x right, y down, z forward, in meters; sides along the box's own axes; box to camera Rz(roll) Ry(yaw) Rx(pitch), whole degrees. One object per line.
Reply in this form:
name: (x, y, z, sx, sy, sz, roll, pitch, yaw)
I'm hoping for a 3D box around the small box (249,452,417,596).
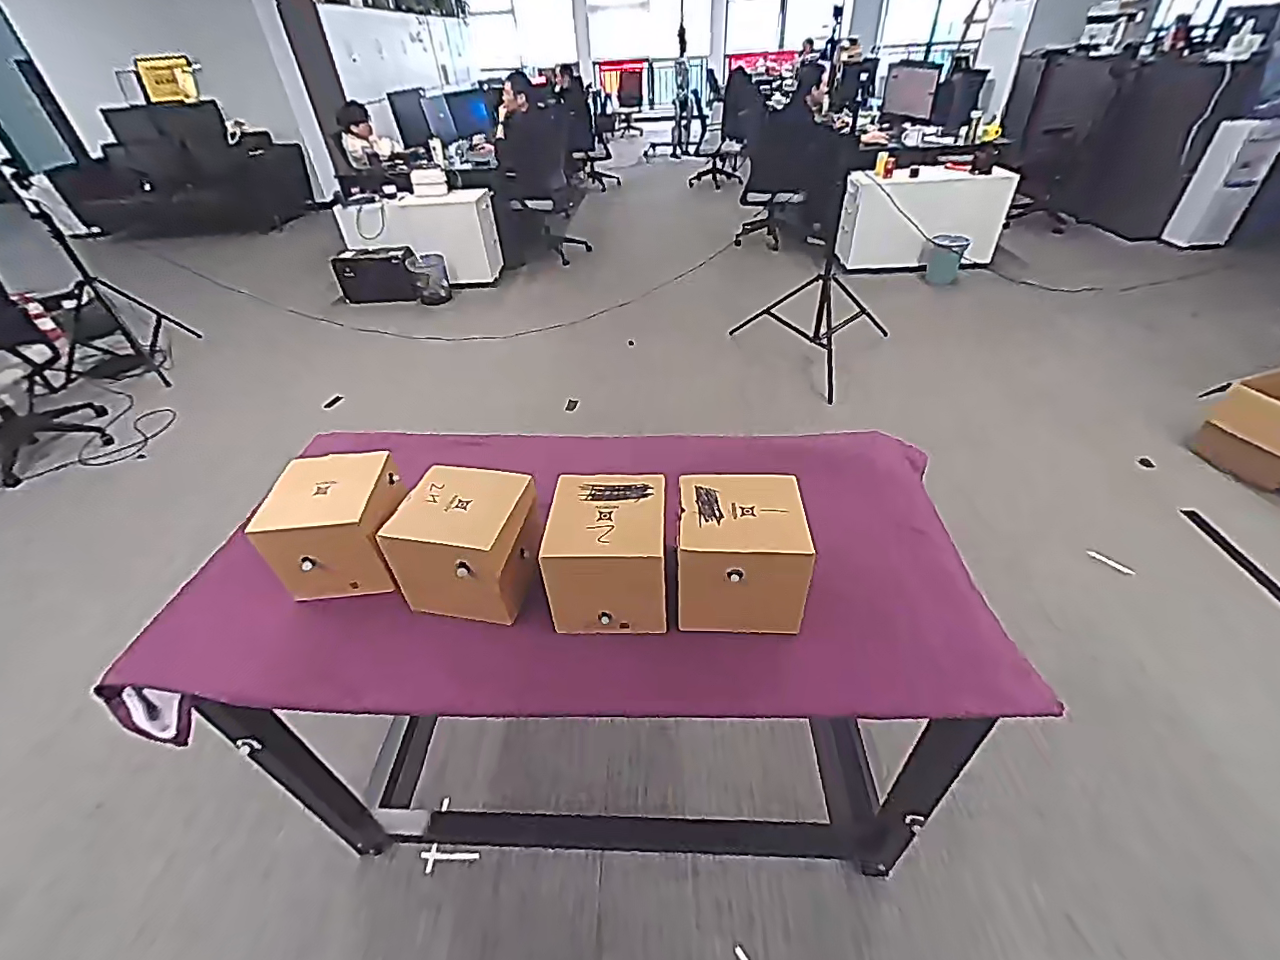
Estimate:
small box: (-0.490, 0.078, 0.899, 0.168, 0.176, 0.179, -6, 40, -3)
